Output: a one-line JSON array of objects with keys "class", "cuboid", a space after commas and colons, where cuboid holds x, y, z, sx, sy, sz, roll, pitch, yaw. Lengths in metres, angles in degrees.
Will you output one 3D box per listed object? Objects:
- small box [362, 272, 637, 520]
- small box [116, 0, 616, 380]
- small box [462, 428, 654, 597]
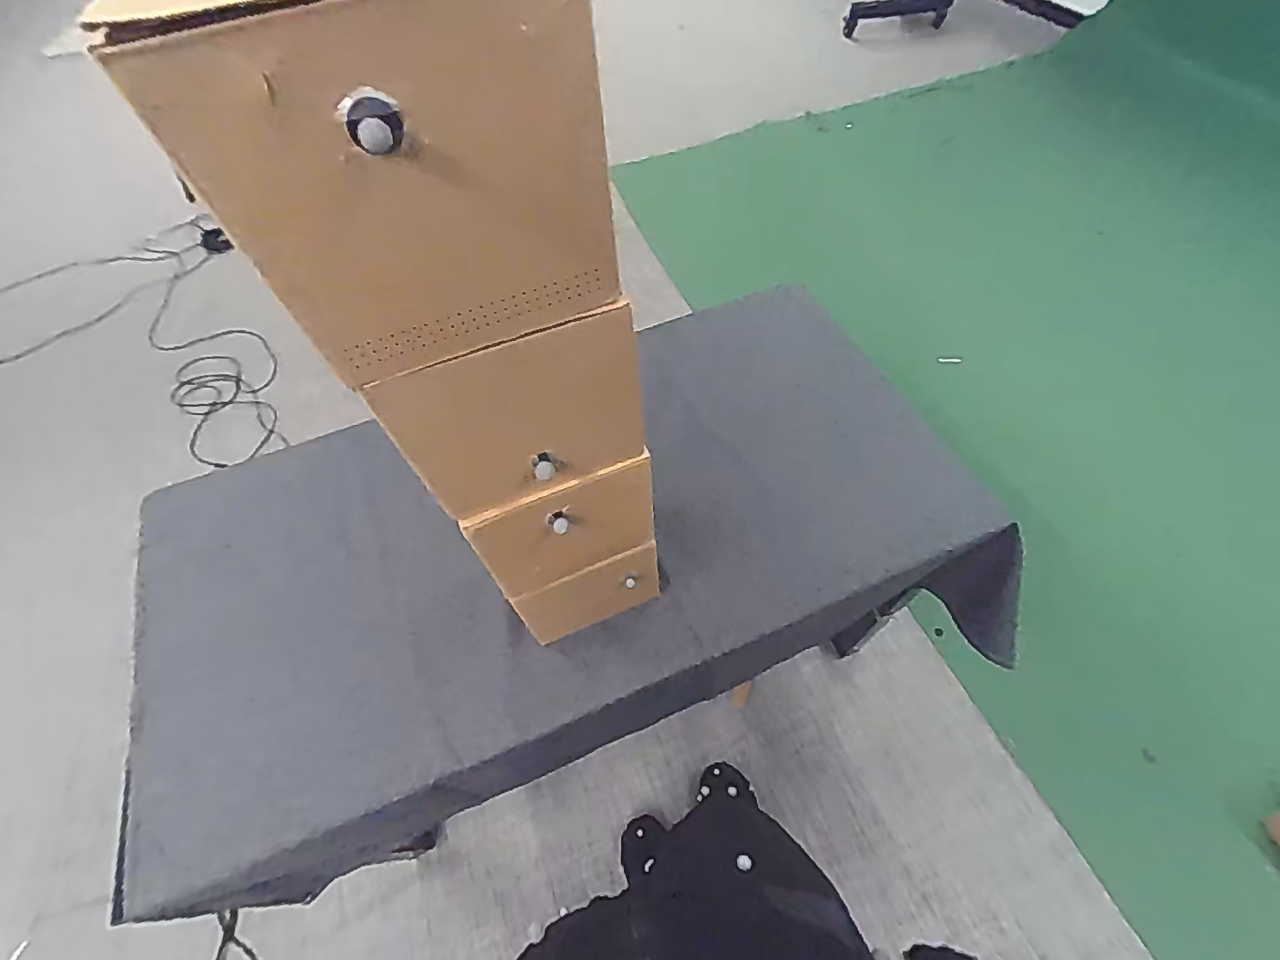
[{"class": "small box", "cuboid": [-0.109, -0.094, 0.444, 0.179, 0.176, 0.168, -20, 58, -9]}, {"class": "small box", "cuboid": [-0.125, -0.185, 0.307, 0.179, 0.176, 0.168, -21, 59, -10]}, {"class": "small box", "cuboid": [-0.095, -0.002, 0.579, 0.179, 0.176, 0.168, -22, 58, -10]}]
